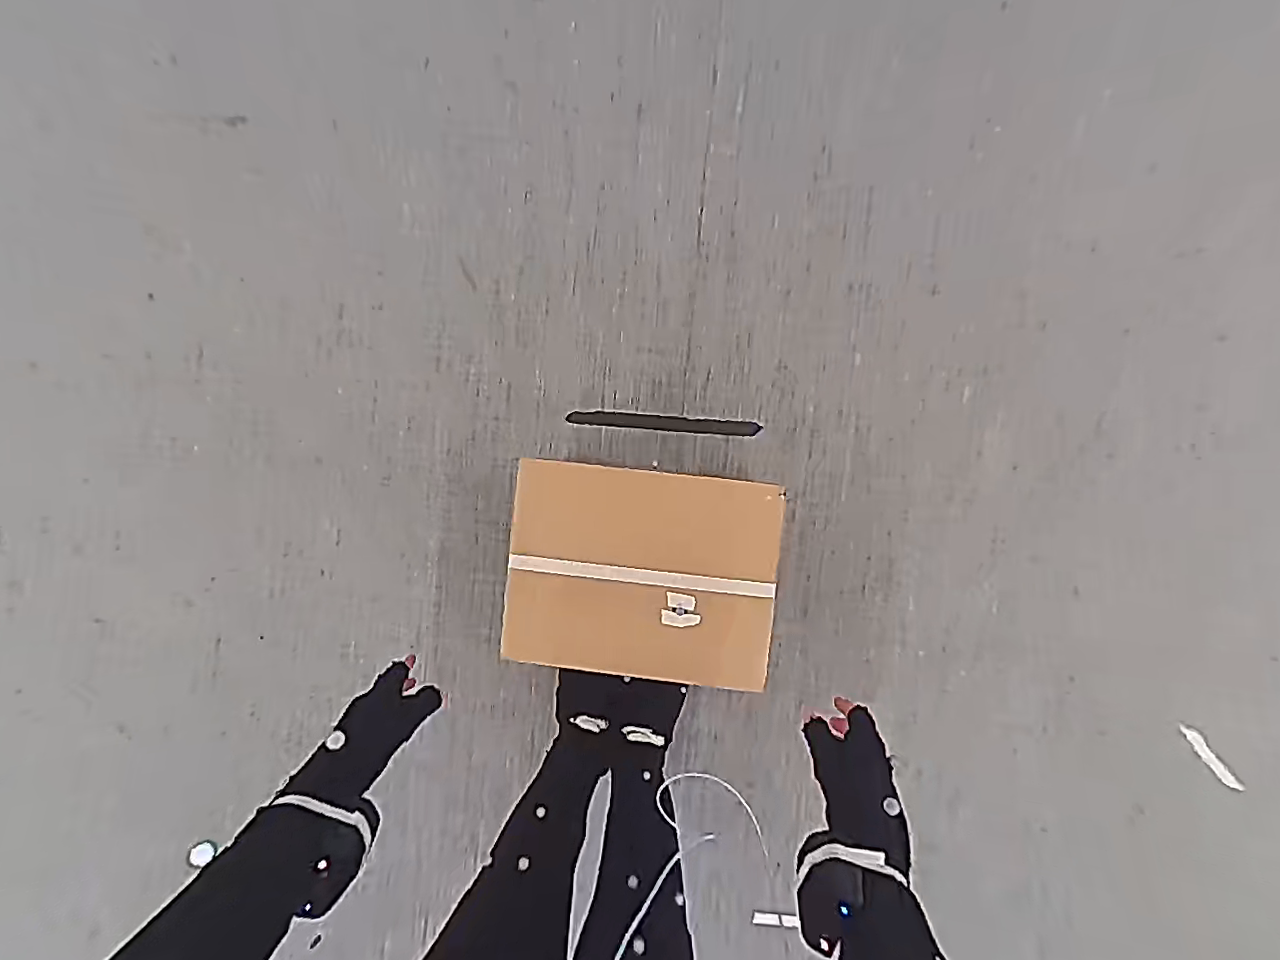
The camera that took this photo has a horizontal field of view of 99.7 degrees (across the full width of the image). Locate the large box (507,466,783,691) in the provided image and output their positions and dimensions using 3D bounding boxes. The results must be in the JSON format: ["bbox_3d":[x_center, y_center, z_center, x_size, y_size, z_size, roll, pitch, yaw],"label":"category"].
[{"bbox_3d":[0.010,0.149,0.970,0.408,0.320,0.320,6,92,3],"label":"large box"}]
